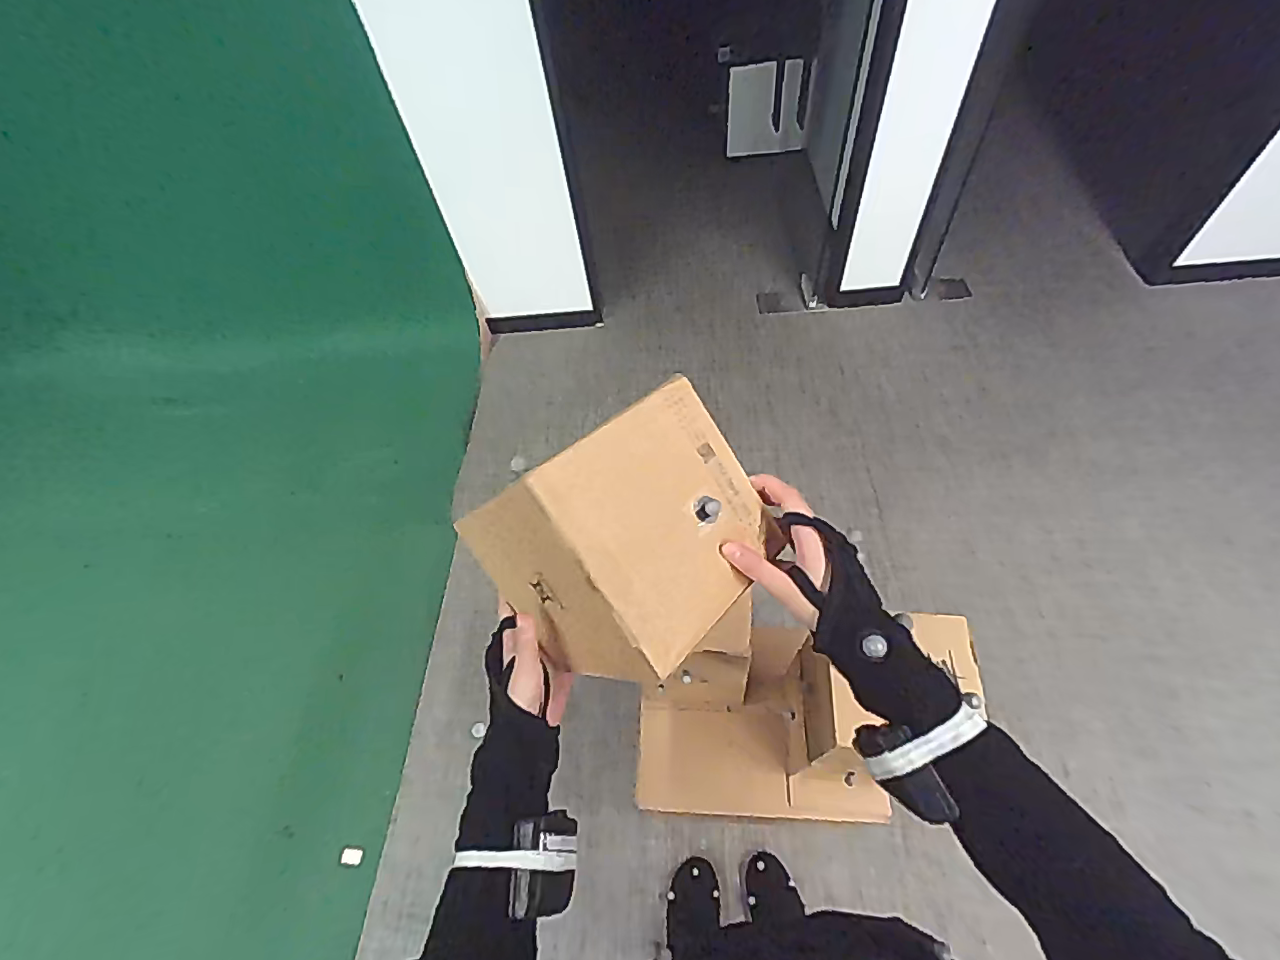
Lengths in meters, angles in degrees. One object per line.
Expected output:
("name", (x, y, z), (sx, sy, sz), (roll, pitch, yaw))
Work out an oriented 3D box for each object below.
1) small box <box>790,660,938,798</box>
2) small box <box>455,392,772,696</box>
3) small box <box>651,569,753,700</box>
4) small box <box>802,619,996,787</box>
("small box", (0.330, 0.390, 0.840), (0.179, 0.176, 0.168), (1, 57, 8))
("small box", (-0.024, 0.053, 0.460), (0.176, 0.179, 0.168), (-38, 96, -34))
("small box", (0.077, 0.208, 0.803), (0.168, 0.176, 0.179), (3, 56, 10))
("small box", (0.318, 0.295, 0.707), (0.179, 0.176, 0.168), (2, 55, 8))
